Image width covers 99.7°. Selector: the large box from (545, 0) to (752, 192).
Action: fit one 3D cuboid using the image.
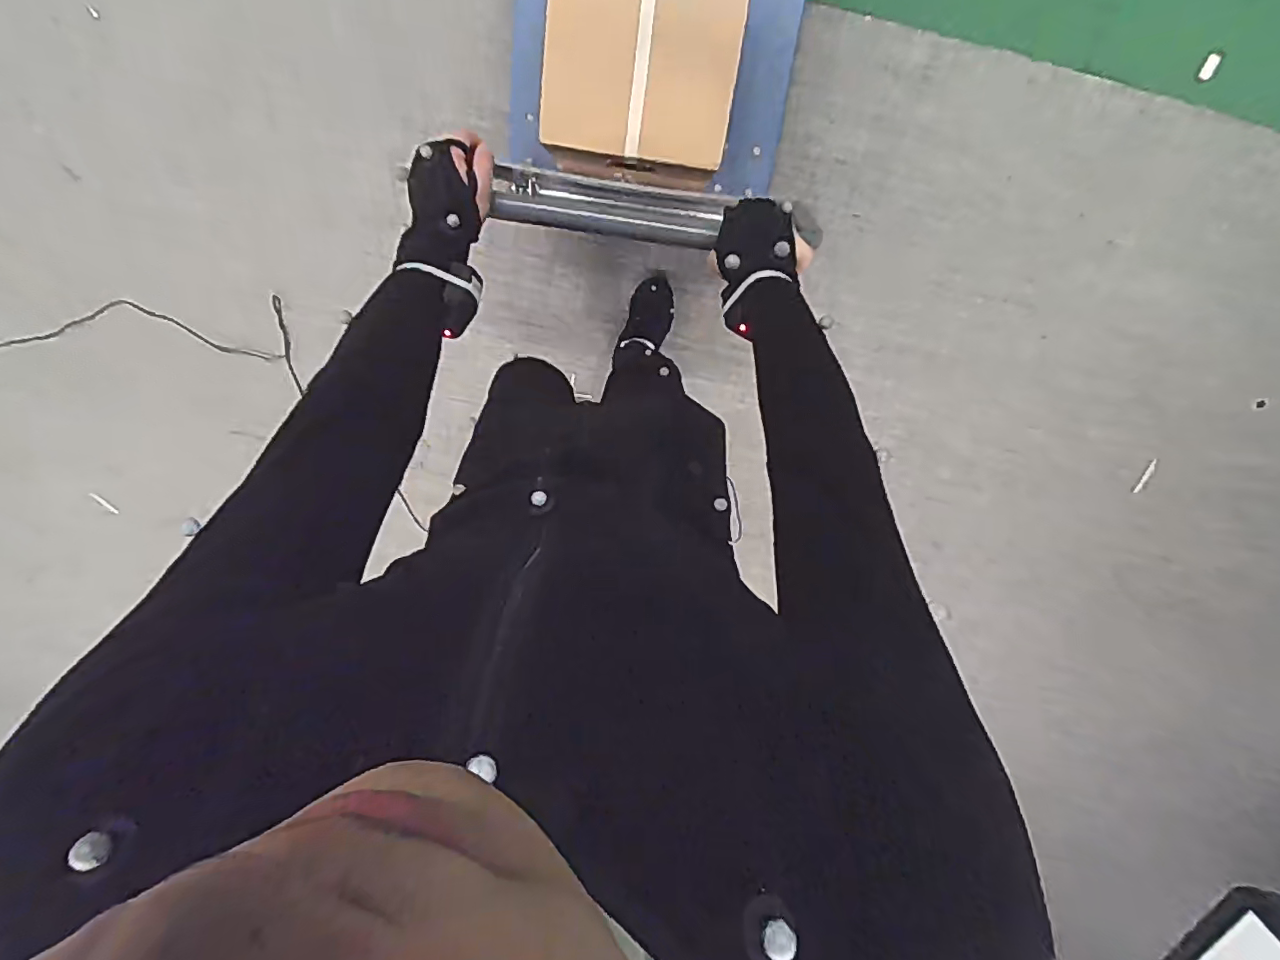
[{"bbox_3d":[0.021,-0.780,0.982,0.320,0.320,0.408,8,111,-2],"label":"large box"}]
